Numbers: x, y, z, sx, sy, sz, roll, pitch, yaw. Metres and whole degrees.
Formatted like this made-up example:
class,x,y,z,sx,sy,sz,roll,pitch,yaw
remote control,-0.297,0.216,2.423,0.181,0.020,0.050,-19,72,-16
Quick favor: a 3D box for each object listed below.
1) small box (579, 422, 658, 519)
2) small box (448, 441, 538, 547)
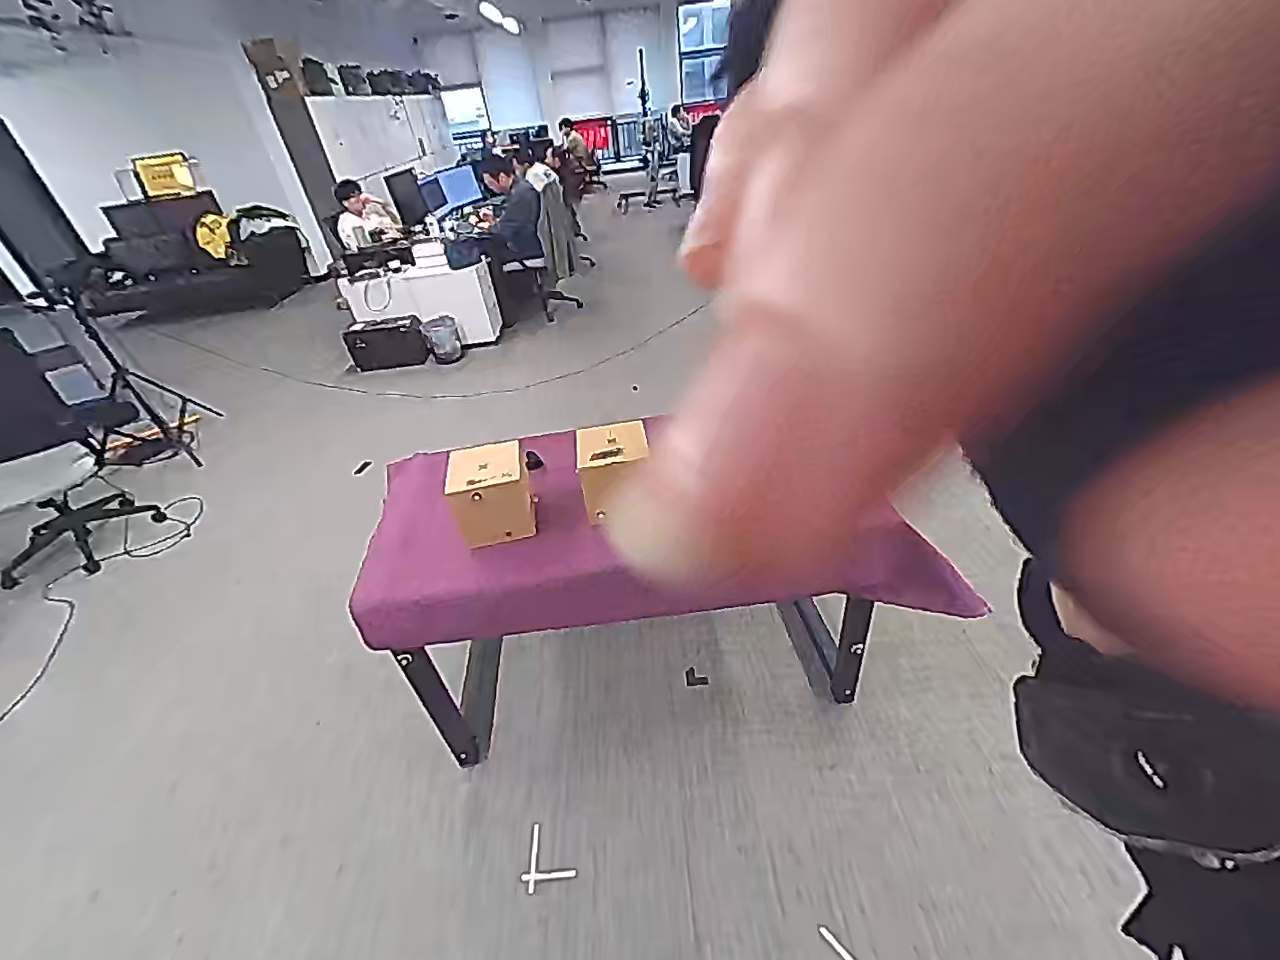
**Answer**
class,x,y,z,sx,sy,sz,roll,pitch,yaw
small box,-0.053,-0.018,1.306,0.168,0.176,0.179,-8,34,-2
small box,-0.344,0.033,1.288,0.168,0.176,0.179,-12,35,-6
